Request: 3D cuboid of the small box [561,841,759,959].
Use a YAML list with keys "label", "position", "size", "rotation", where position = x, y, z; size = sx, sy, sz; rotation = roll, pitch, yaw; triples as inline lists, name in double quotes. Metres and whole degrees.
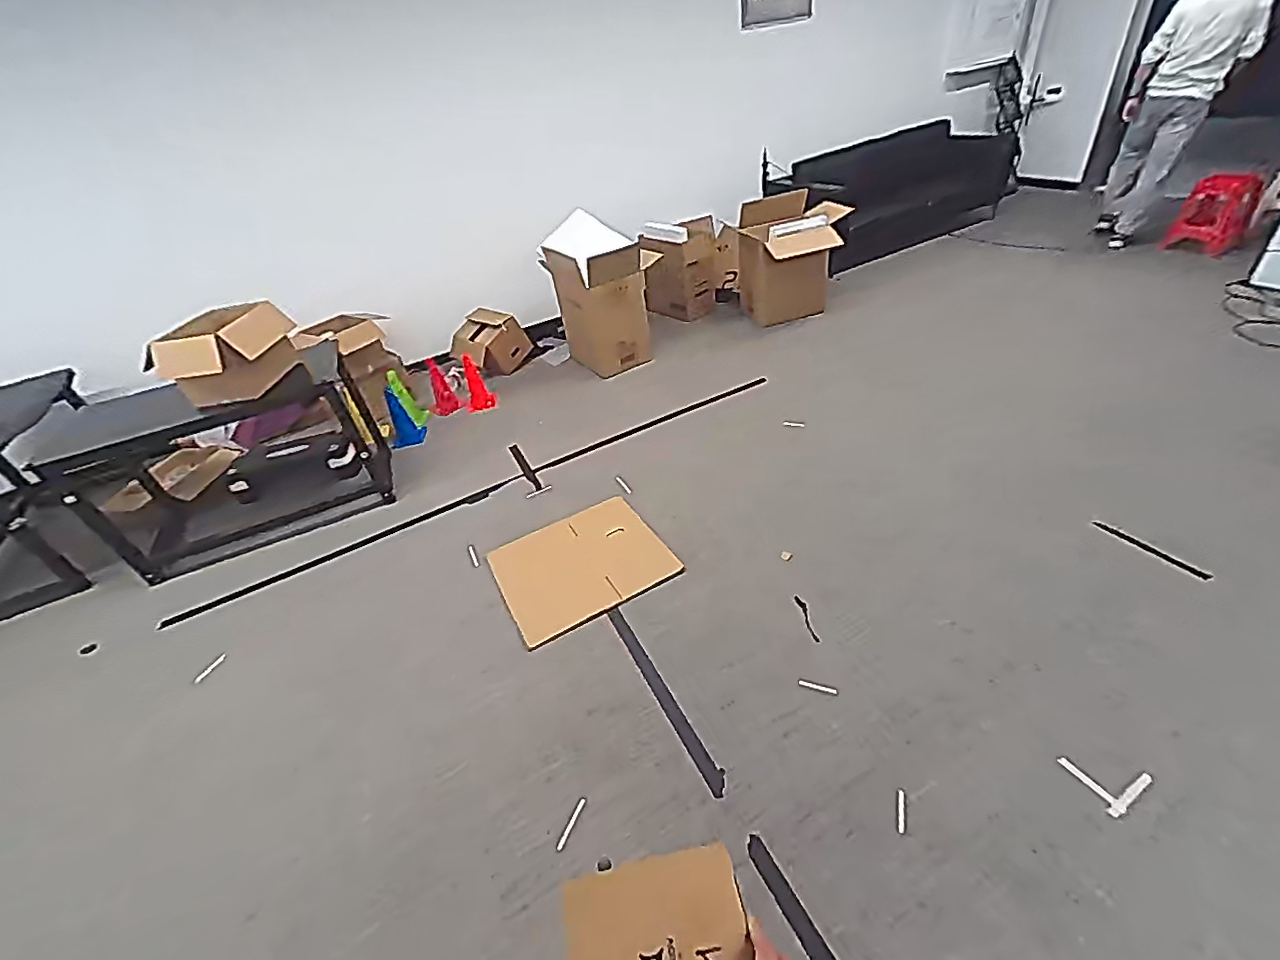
- label: "small box"
  position: [0.023, 0.498, 0.549]
  size: [0.179, 0.176, 0.168]
  rotation: [-8, 46, -7]
